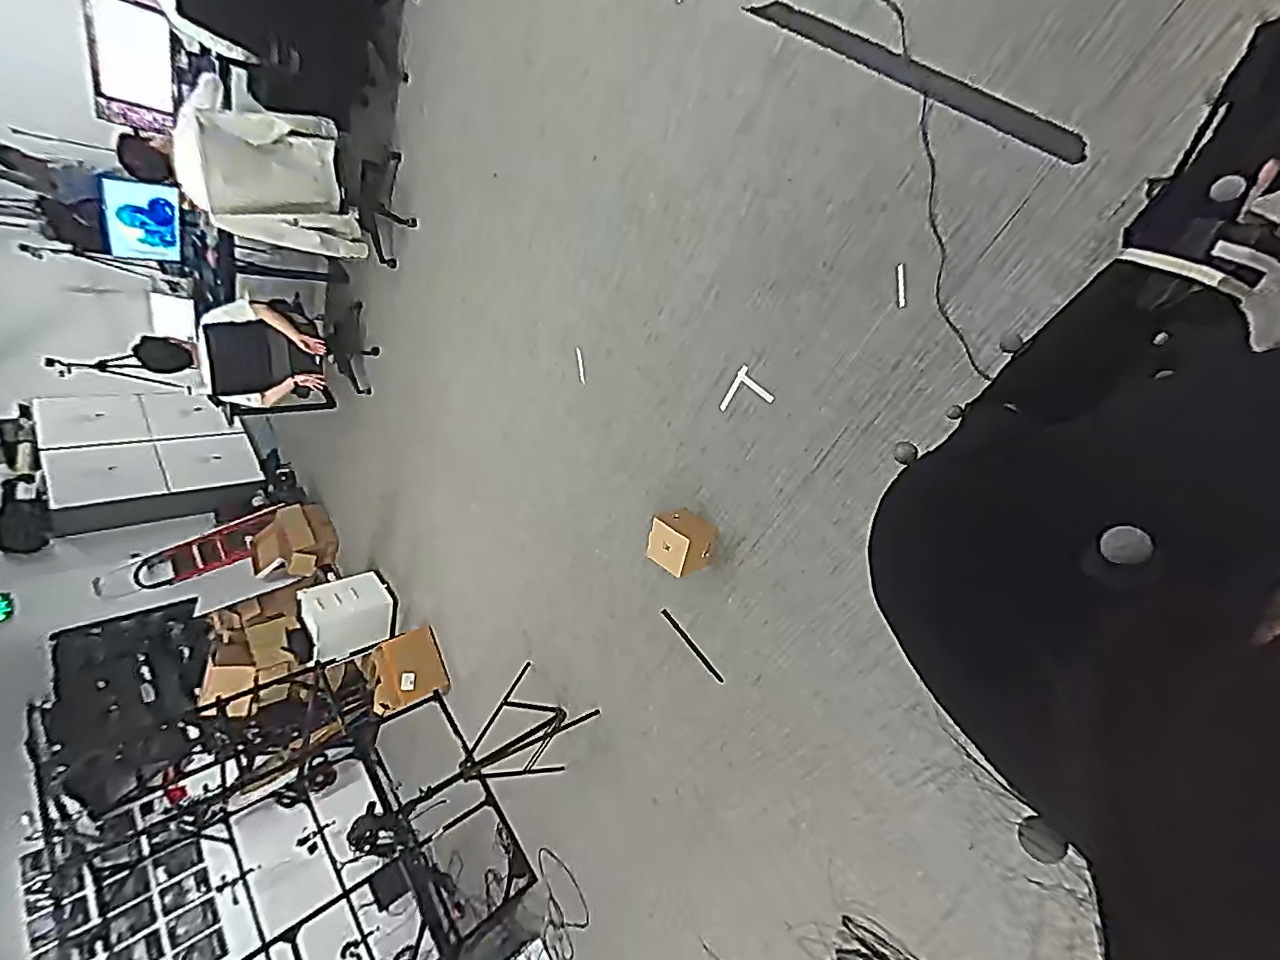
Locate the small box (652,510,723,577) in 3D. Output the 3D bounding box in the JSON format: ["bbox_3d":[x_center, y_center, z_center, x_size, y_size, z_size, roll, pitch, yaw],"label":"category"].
[{"bbox_3d":[0.173,0.223,1.976,0.179,0.176,0.168,30,120,36],"label":"small box"}]
